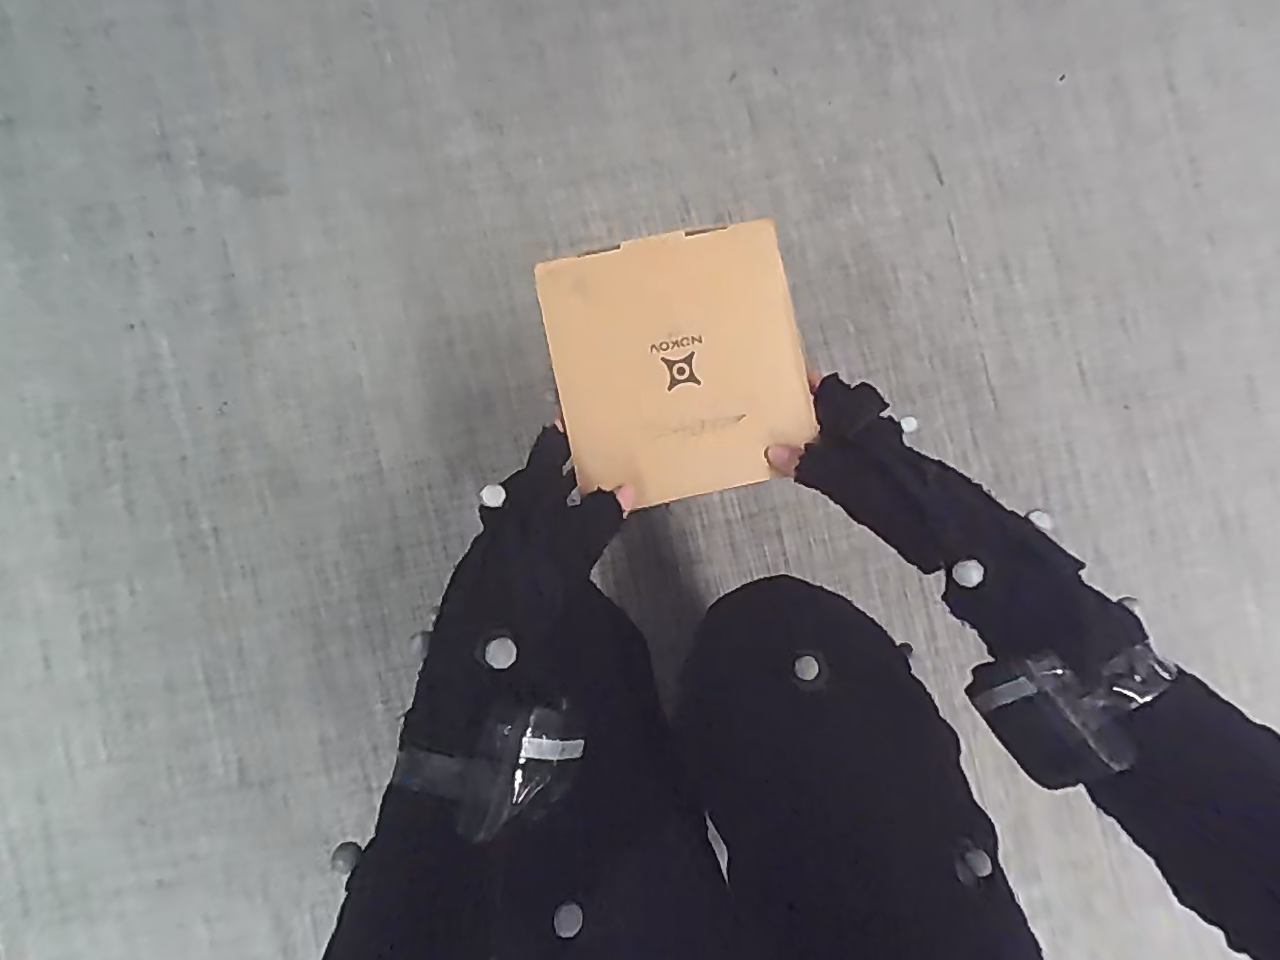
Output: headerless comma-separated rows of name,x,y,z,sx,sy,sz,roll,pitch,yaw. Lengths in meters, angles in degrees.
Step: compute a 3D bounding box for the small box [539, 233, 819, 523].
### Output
small box,0.023,-0.067,0.444,0.168,0.176,0.179,-12,89,-2
